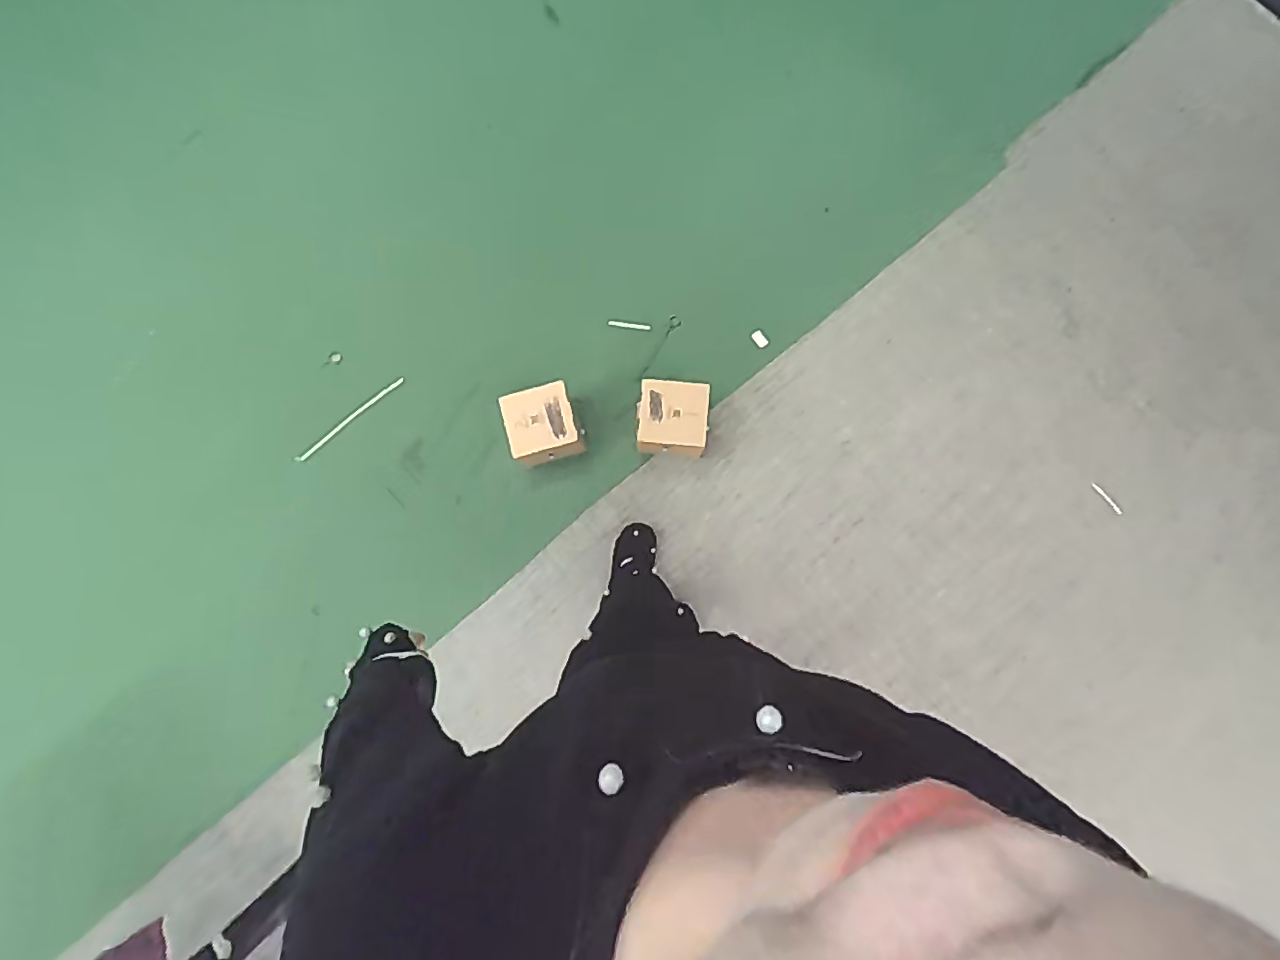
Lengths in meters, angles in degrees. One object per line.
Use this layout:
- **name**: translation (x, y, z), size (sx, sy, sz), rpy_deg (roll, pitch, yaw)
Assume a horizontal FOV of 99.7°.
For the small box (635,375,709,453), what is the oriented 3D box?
- **small box**: translation (0.083, -0.171, 1.445), size (0.179, 0.176, 0.168), rpy_deg (6, 84, 1)
